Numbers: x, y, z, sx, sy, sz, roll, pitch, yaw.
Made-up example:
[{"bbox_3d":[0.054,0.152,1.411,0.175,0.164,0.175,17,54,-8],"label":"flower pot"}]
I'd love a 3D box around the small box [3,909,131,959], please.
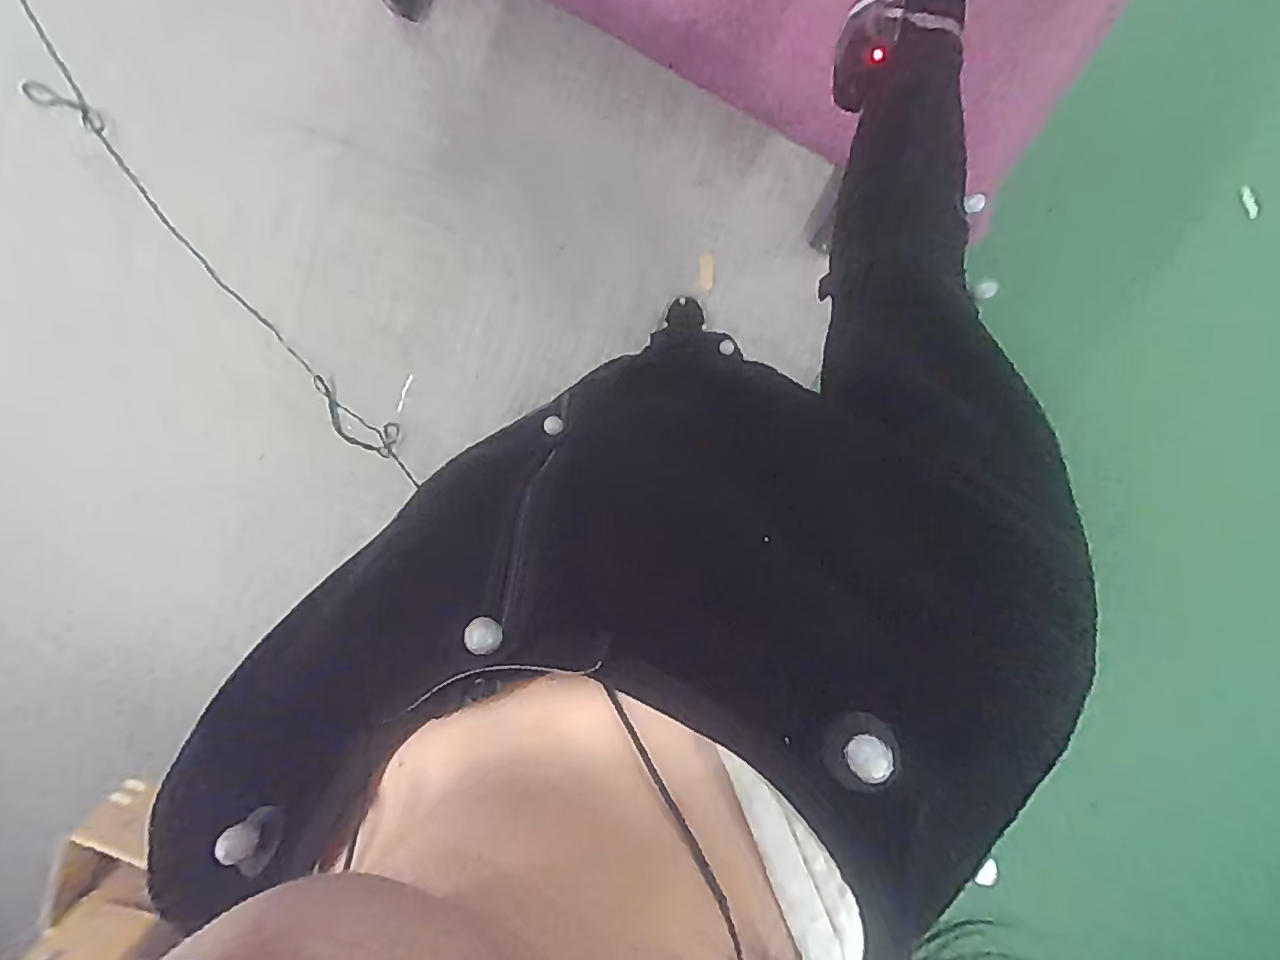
[{"bbox_3d":[-1.314,1.117,1.216,0.179,0.176,0.168,19,107,-4],"label":"small box"}]

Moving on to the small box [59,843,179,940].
[{"bbox_3d":[-1.338,1.081,1.379,0.168,0.176,0.179,37,103,-8],"label":"small box"}]

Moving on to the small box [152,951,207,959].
[{"bbox_3d":[-1.099,1.249,1.246,0.168,0.176,0.179,10,105,-2],"label":"small box"}]
